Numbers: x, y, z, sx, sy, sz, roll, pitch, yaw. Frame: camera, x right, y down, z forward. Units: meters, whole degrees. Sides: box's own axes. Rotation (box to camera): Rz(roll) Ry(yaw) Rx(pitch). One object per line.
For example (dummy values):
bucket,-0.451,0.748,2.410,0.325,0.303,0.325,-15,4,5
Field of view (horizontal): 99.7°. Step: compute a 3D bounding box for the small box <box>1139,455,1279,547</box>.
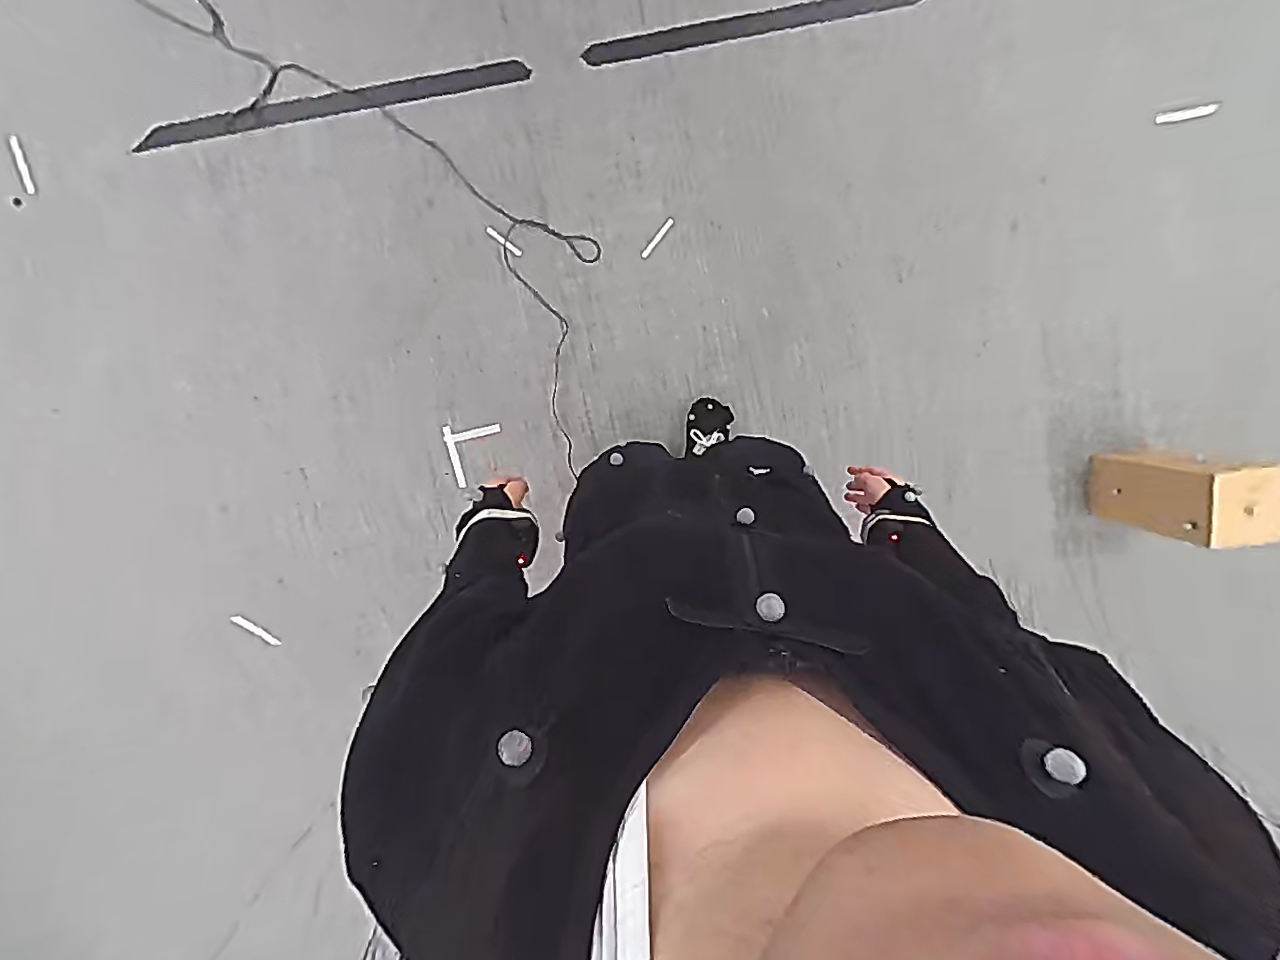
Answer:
small box,1.331,0.045,1.273,0.168,0.176,0.179,-7,99,0
